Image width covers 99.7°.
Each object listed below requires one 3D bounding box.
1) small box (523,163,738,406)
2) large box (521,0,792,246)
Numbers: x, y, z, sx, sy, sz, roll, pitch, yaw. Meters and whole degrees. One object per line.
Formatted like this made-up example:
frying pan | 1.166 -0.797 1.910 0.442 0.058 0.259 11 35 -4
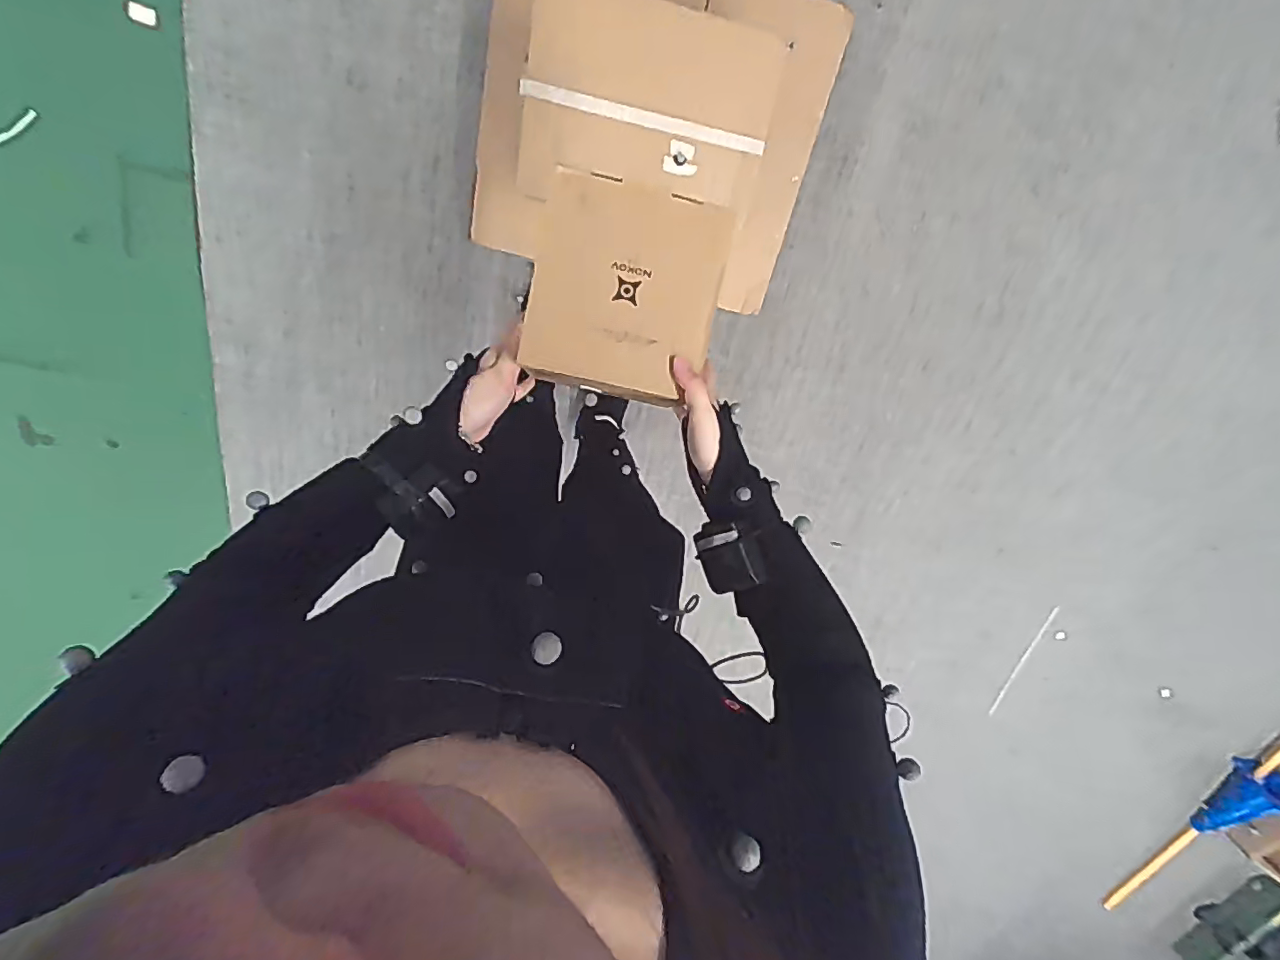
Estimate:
small box | -0.016 -0.179 0.556 0.168 0.176 0.179 11 95 -6
large box | 0.008 -0.647 1.021 0.408 0.320 0.320 10 114 -8
